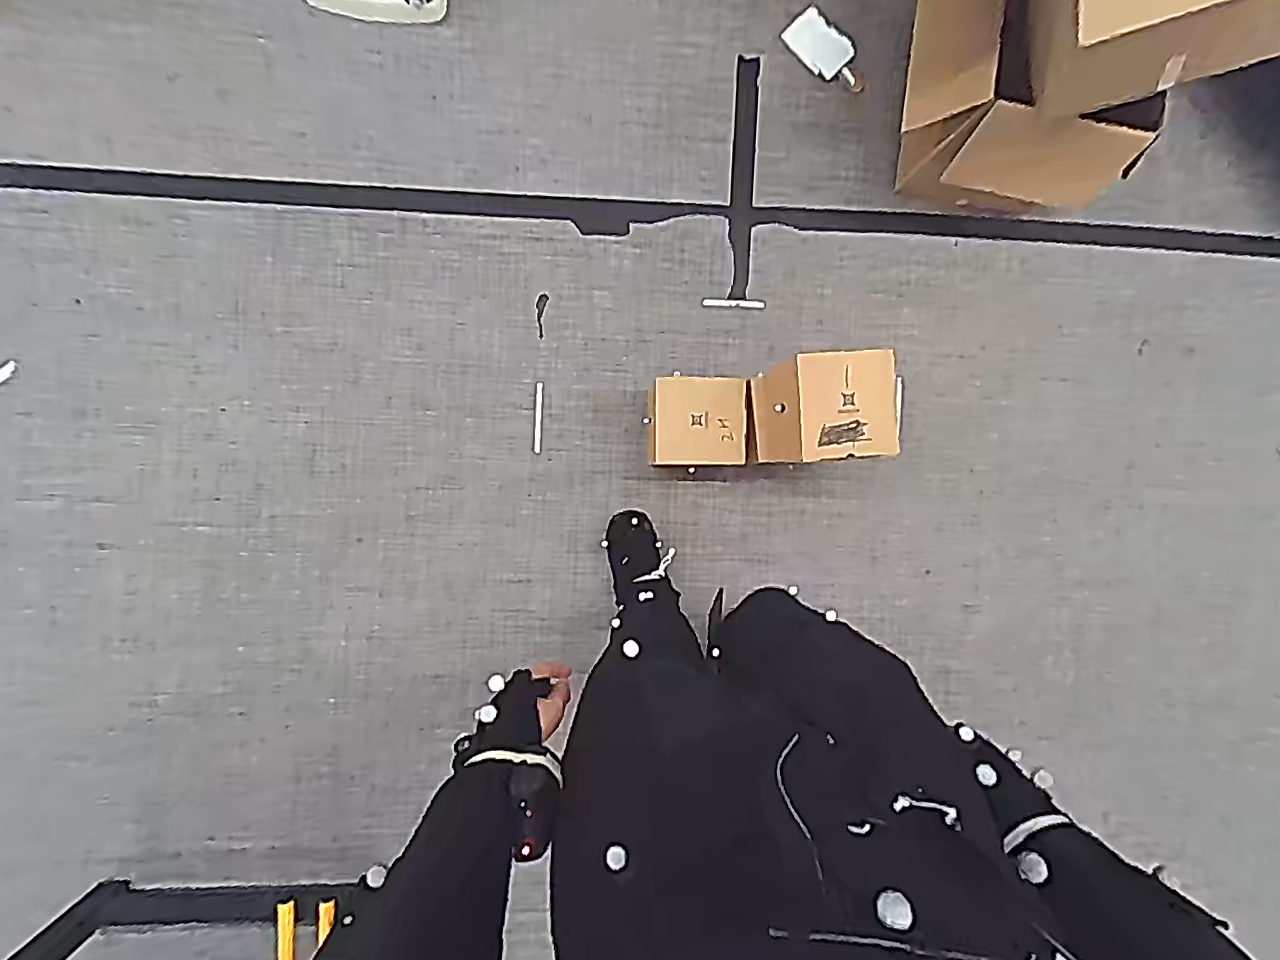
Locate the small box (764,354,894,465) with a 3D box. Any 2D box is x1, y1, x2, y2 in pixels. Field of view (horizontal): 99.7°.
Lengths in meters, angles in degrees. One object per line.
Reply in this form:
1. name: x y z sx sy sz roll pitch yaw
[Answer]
1. small box: 0.325 -0.117 0.954 0.168 0.176 0.179 -4 91 -5
